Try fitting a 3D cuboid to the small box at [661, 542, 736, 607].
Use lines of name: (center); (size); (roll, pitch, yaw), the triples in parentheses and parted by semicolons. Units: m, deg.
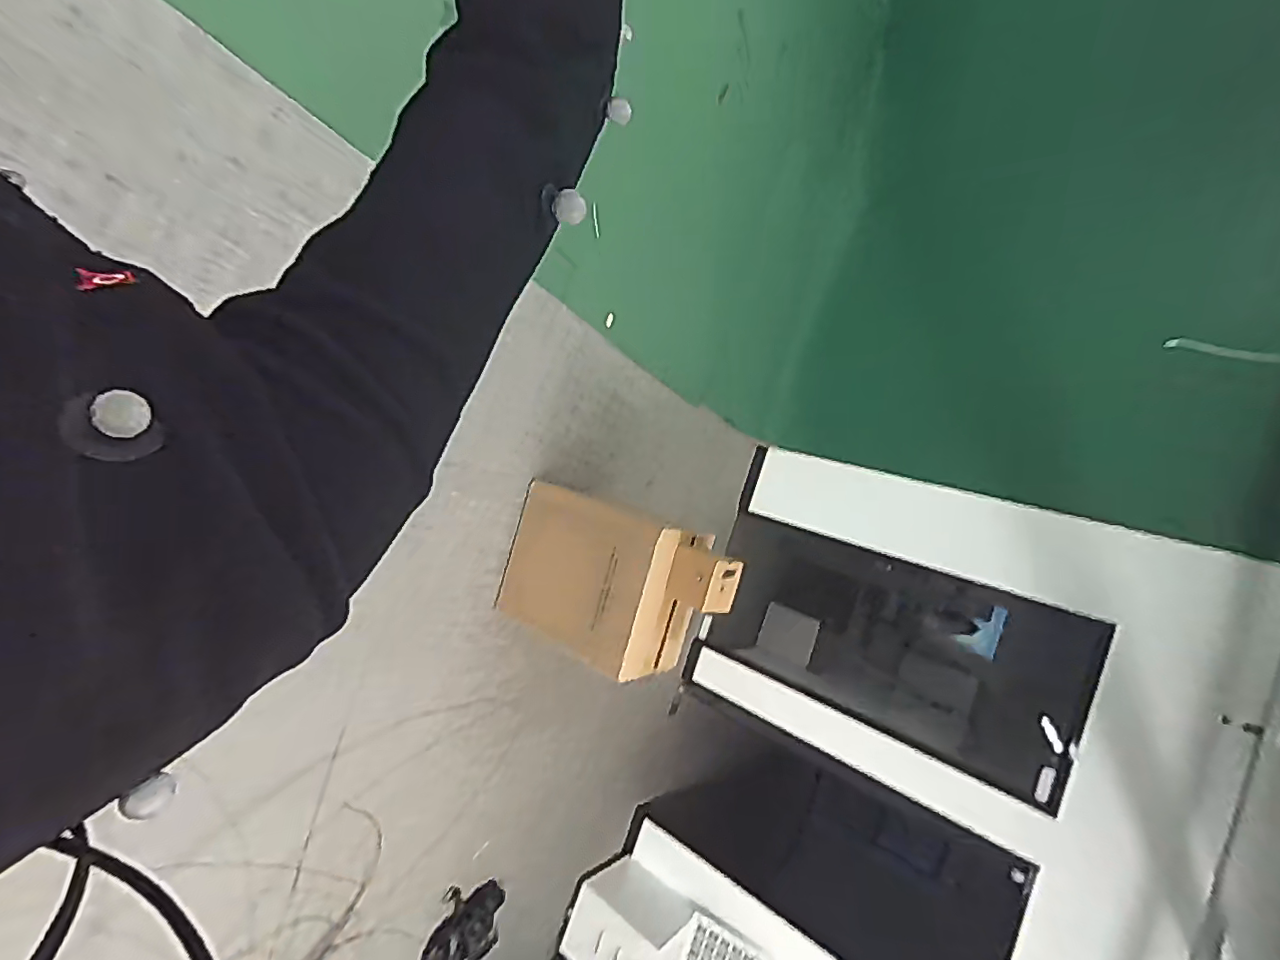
small box: (0.196, 0.320, 1.841); (0.168, 0.176, 0.179); (14, 93, -48)
